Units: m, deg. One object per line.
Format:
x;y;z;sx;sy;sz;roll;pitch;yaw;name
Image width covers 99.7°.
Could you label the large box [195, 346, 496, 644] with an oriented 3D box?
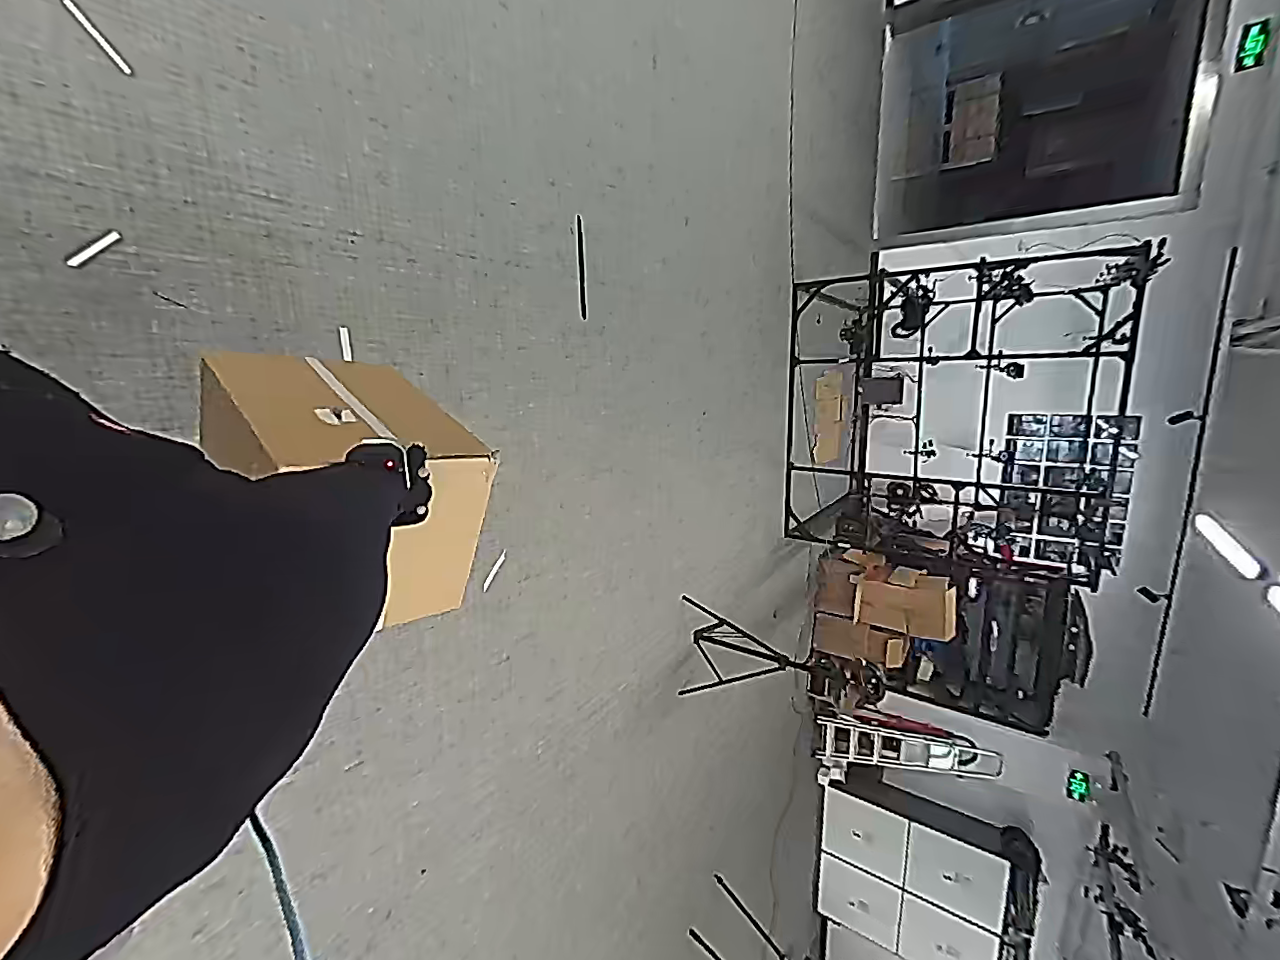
-0.522;0.004;0.936;0.320;0.408;0.320;-6;124;-49;large box
